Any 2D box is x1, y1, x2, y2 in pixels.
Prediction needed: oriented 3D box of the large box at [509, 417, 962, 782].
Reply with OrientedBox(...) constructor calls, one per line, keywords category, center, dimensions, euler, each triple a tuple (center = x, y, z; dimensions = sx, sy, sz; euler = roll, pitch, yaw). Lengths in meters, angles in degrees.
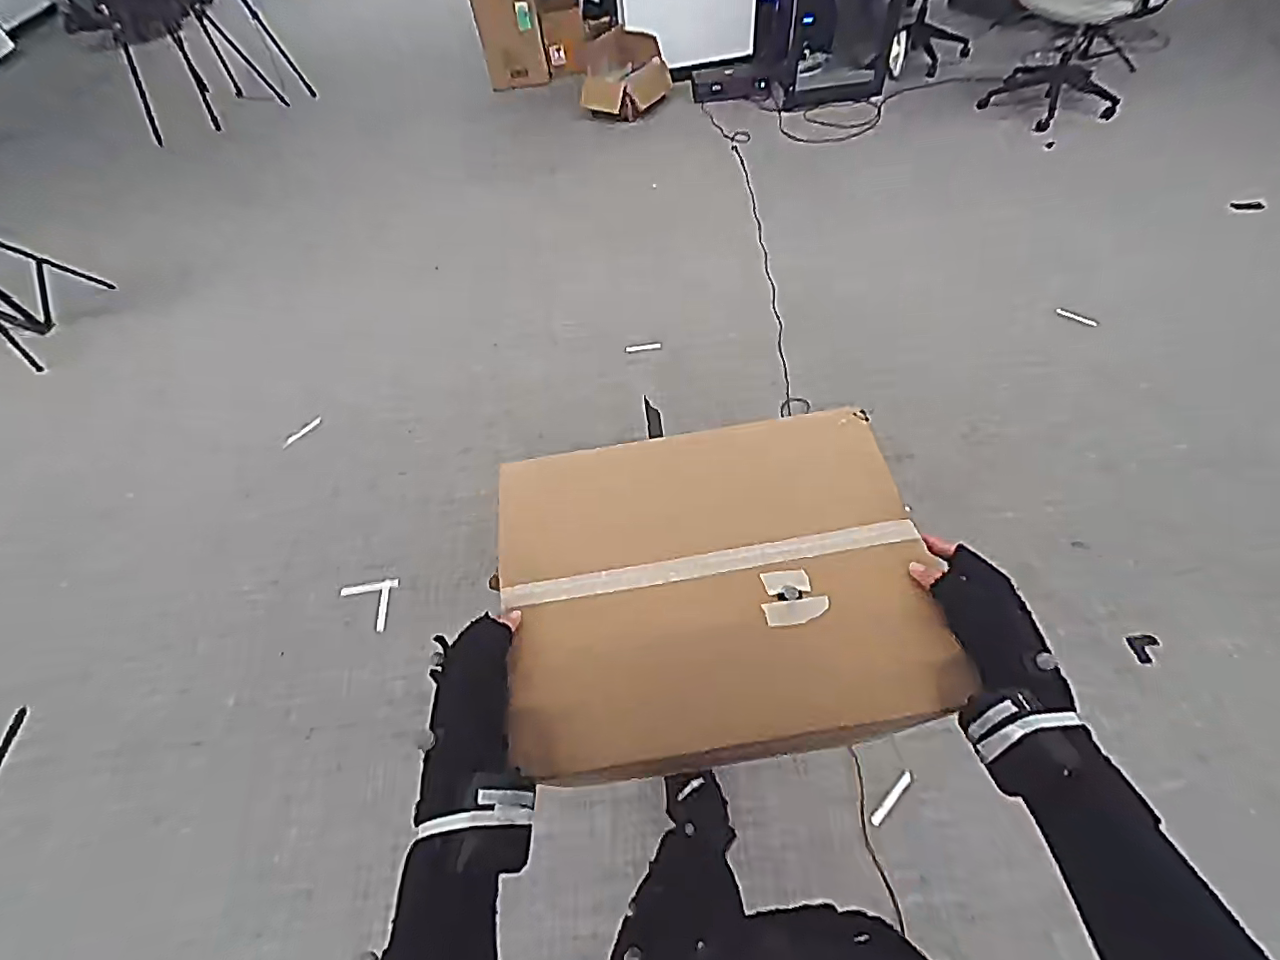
OrientedBox(category="large box", center=(0.078, 0.165, 0.674), dimensions=(0.408, 0.320, 0.320), euler=(-10, 60, -1))
